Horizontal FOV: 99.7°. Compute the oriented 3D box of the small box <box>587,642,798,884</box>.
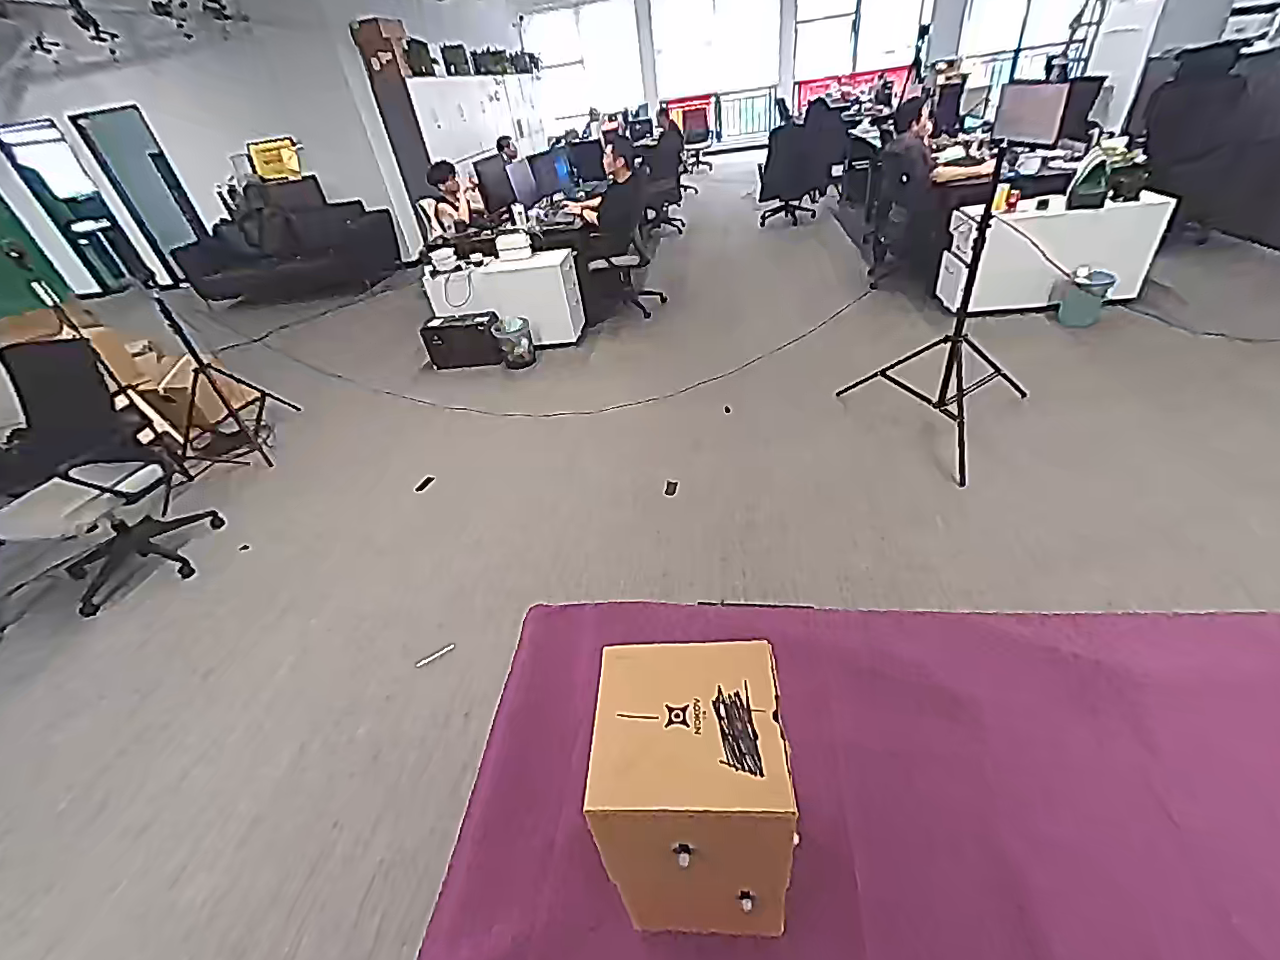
[{"bbox_3d":[0.055,0.285,0.552,0.179,0.176,0.168,-4,36,7],"label":"small box"}]

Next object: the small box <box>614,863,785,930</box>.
[{"bbox_3d":[0.074,0.414,0.652,0.179,0.176,0.168,-4,36,7],"label":"small box"}]
